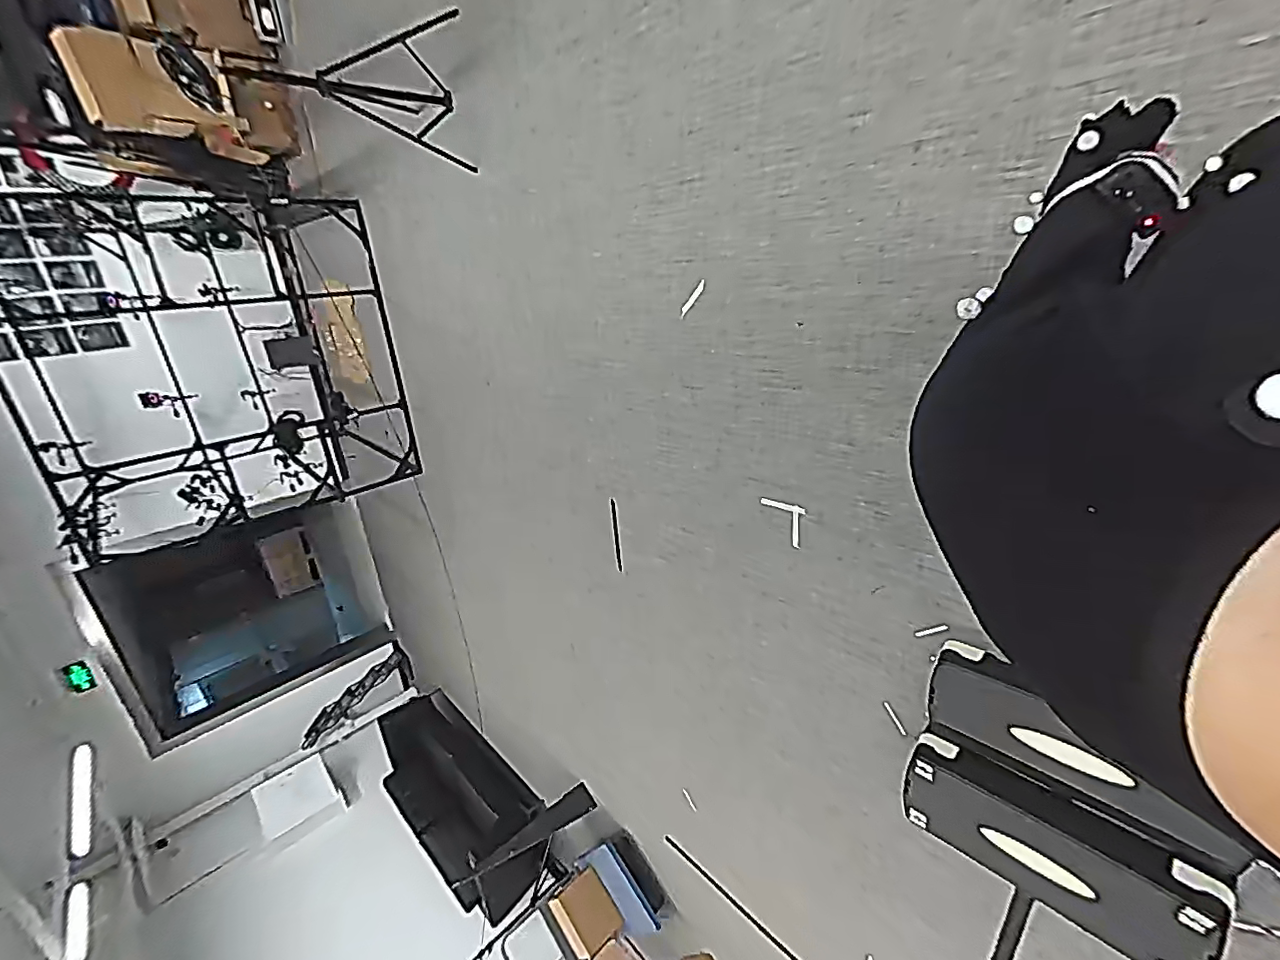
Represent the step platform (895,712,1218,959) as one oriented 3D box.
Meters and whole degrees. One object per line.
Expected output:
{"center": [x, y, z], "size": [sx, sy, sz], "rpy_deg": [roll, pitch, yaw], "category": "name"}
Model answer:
{"center": [1.072, 0.946, 1.478], "size": [0.684, 0.204, 0.286], "rpy_deg": [17, 120, 45], "category": "step platform"}
